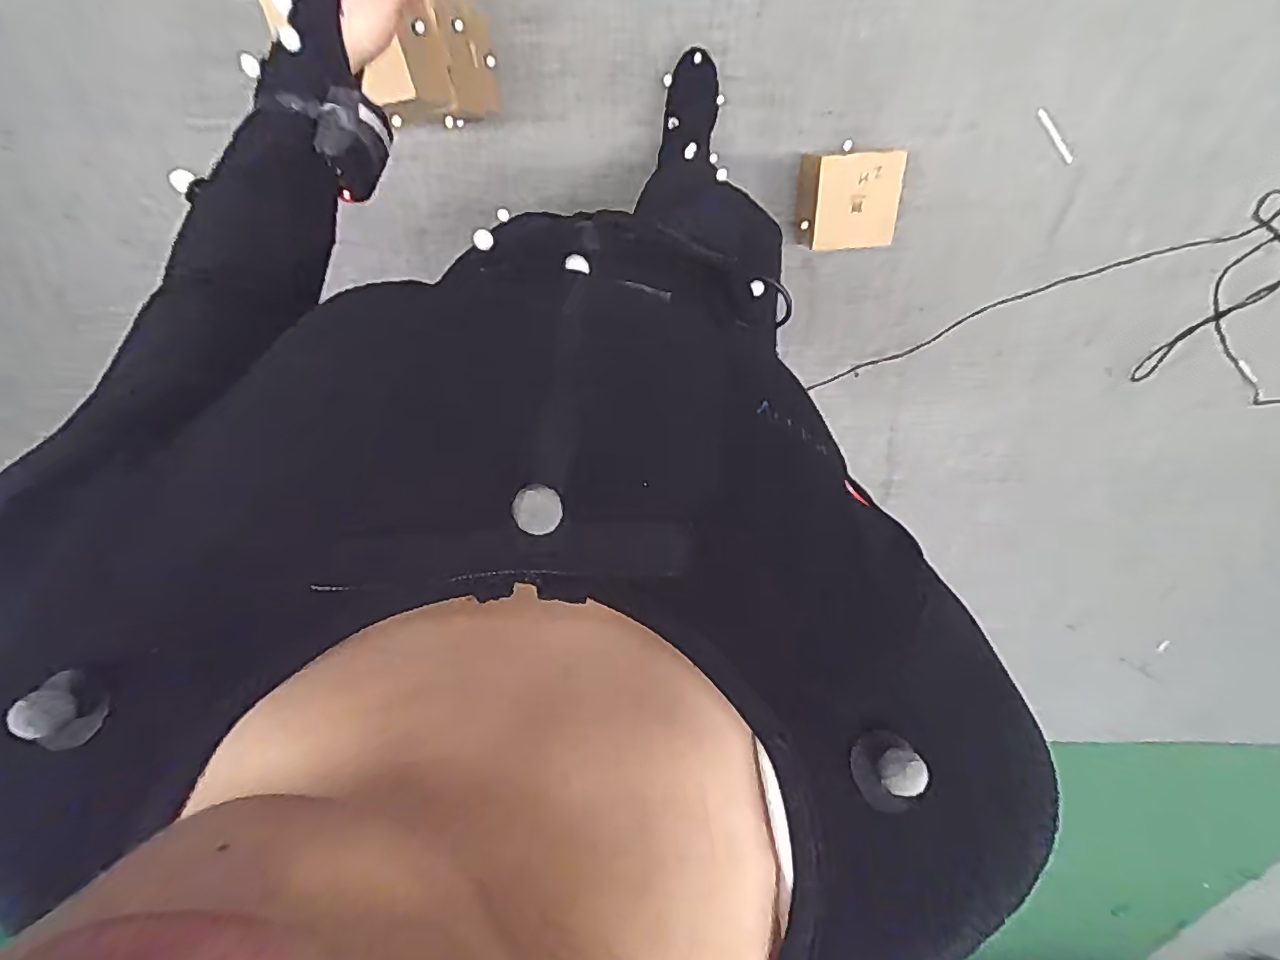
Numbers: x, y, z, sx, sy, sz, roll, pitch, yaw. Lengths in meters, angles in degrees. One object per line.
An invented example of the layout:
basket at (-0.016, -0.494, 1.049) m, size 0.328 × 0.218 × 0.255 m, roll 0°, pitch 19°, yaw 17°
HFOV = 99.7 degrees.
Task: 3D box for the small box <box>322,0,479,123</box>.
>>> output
small box at (-0.390, -0.719, 0.924) m, size 0.179 × 0.176 × 0.168 m, roll -4°, pitch 121°, yaw 6°

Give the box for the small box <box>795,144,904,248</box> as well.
small box at (0.434, -0.608, 1.155) m, size 0.168 × 0.176 × 0.179 m, roll -3°, pitch 123°, yaw 3°

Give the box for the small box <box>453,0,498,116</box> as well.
small box at (-0.387, -0.815, 1.056) m, size 0.179 × 0.176 × 0.168 m, roll -2°, pitch 122°, yaw 3°
